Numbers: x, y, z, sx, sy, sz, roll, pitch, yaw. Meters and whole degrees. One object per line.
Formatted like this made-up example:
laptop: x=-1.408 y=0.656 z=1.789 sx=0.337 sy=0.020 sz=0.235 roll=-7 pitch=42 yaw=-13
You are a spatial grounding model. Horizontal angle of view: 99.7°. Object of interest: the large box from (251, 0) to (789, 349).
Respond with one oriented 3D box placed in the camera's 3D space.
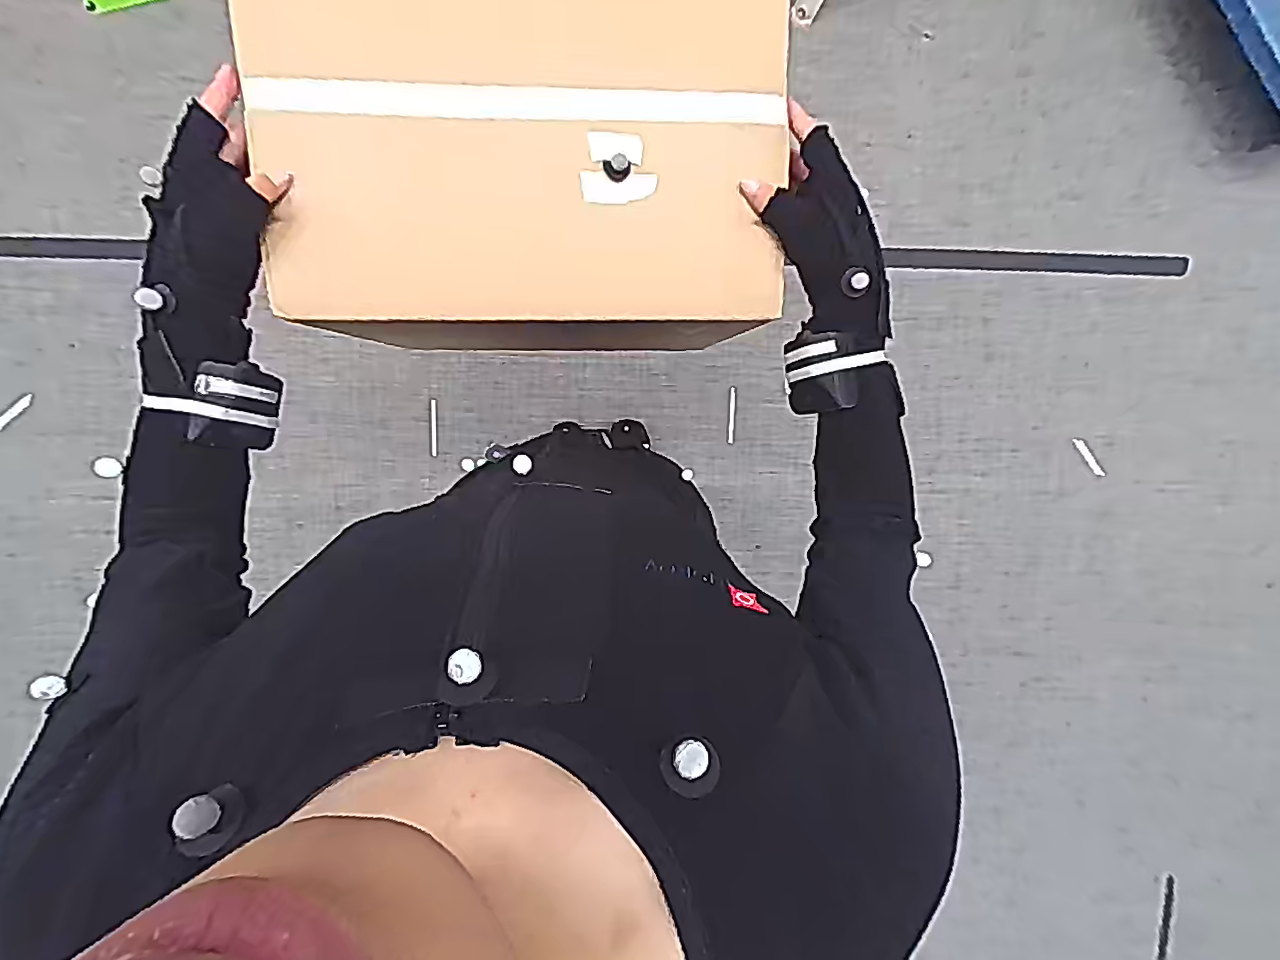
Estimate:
large box: x=-0.097 y=-0.311 z=0.560 sx=0.408 sy=0.320 sz=0.320 roll=-2 pitch=100 yaw=-6
